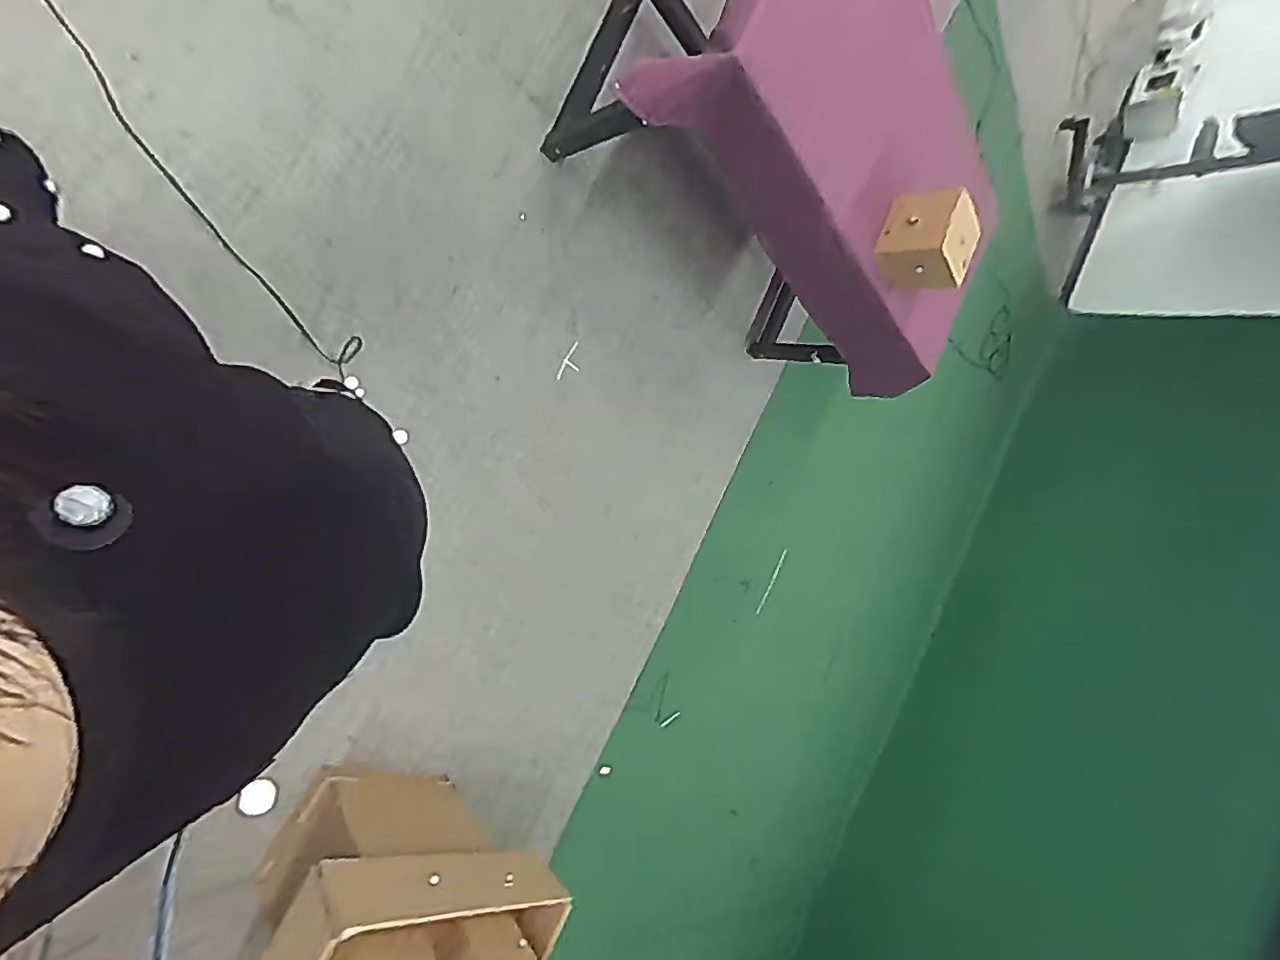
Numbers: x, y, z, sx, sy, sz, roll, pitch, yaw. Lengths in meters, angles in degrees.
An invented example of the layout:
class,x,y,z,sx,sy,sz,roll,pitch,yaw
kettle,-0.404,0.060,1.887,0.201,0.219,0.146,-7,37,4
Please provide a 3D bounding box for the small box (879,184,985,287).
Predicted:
class,x,y,z,sx,sy,sz,roll,pitch,yaw
small box,0.738,-0.608,1.374,0.179,0.176,0.168,26,85,-42
